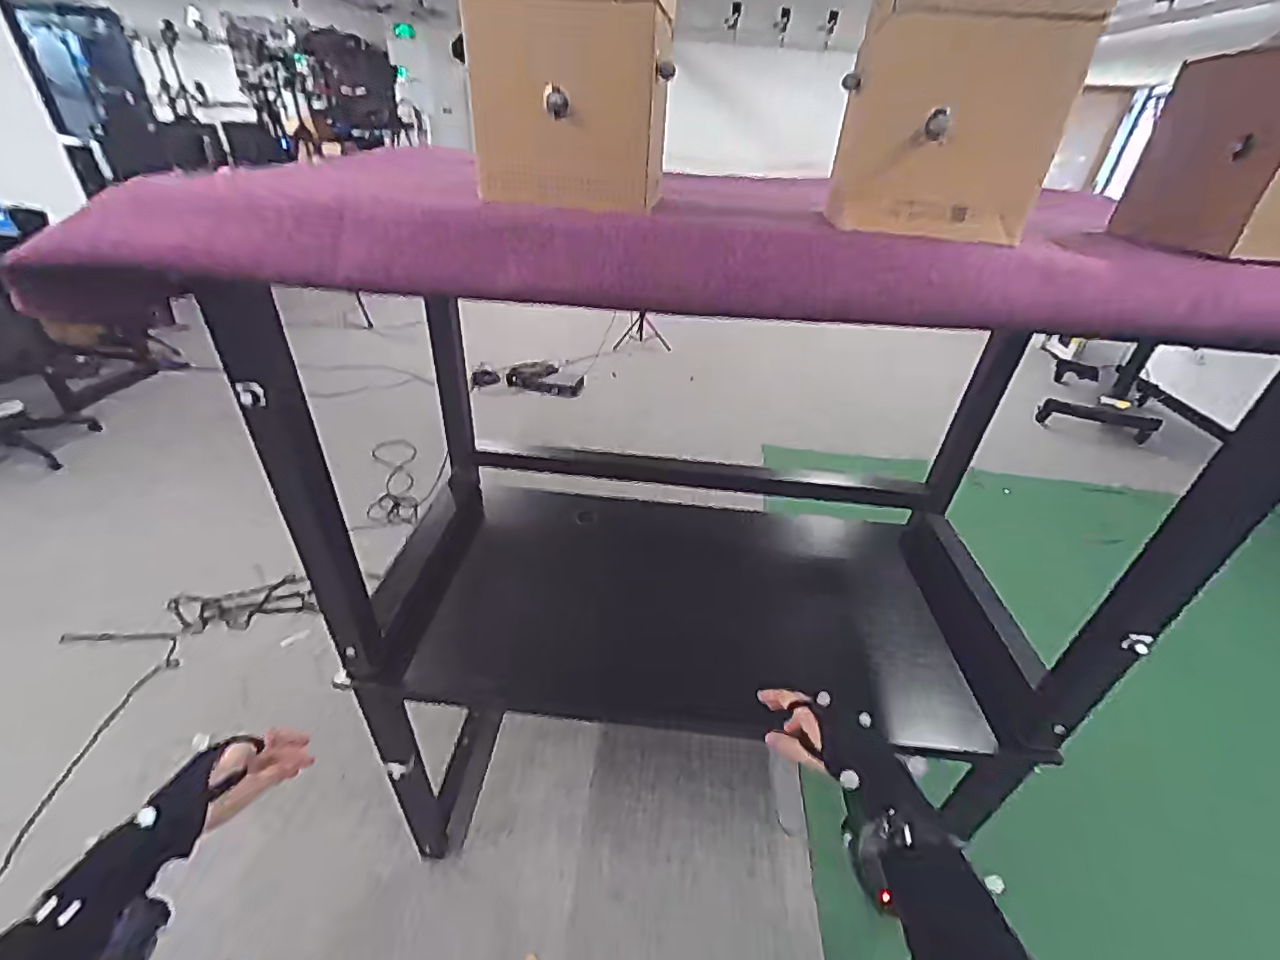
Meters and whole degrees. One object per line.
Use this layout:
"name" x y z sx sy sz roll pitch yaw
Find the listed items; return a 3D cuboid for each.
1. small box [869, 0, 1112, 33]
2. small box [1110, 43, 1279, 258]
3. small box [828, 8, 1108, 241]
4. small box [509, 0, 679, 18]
"small box" 0.309 -0.484 0.454 0.168 0.176 0.179 9 33 7
"small box" 0.638 -0.318 0.535 0.168 0.176 0.179 5 32 1
"small box" 0.297 -0.345 0.542 0.168 0.176 0.179 9 32 7
"small box" -0.049 -0.529 0.477 0.179 0.176 0.168 7 34 5
